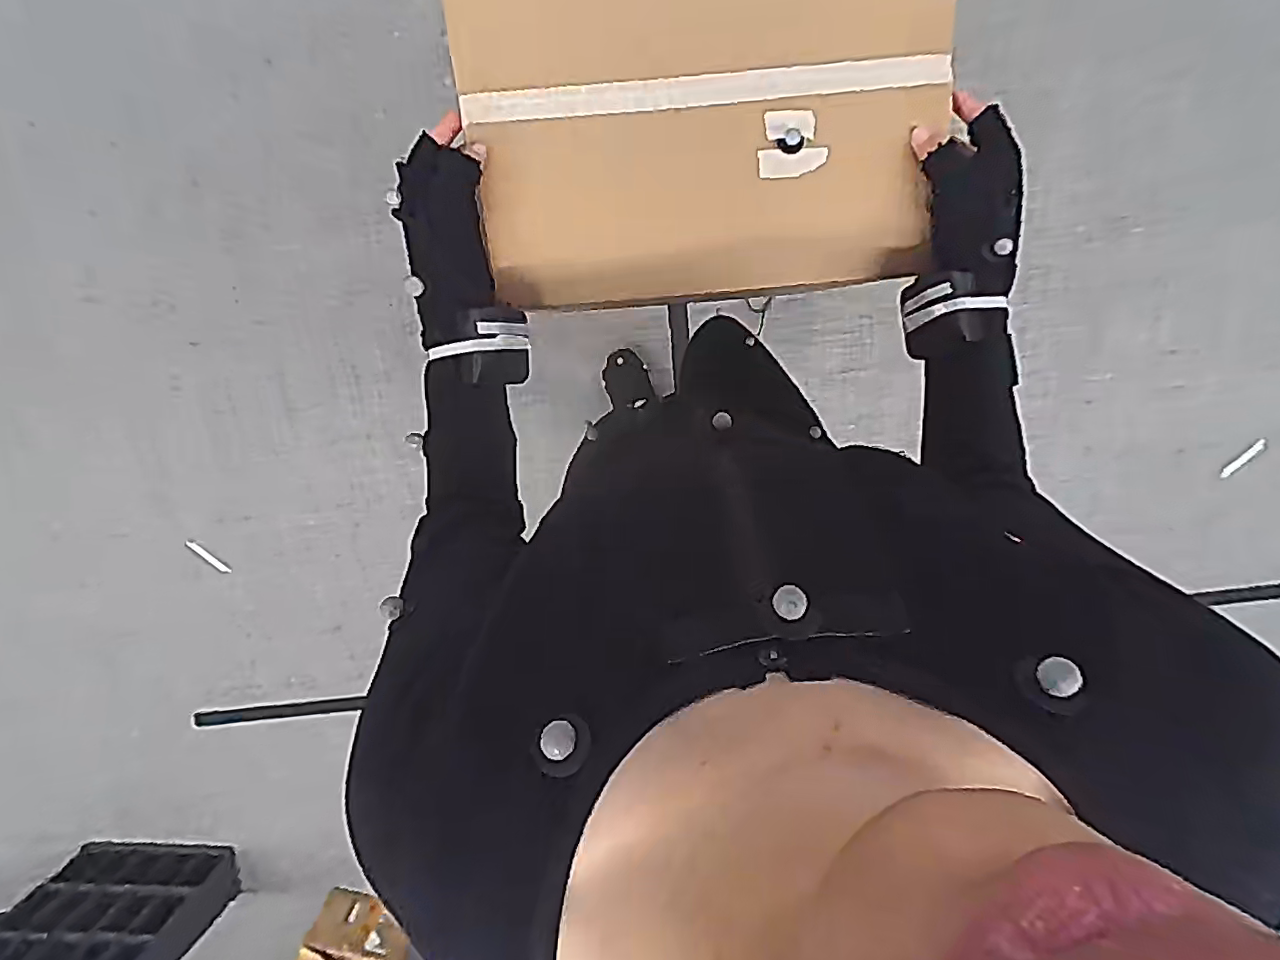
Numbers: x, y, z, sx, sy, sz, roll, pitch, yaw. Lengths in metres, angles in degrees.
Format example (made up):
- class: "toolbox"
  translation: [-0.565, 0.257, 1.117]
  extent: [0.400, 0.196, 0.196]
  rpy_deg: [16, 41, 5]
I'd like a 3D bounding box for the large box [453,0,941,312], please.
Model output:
- class: "large box"
  translation: [0.046, -0.370, 0.599]
  extent: [0.408, 0.320, 0.320]
  rpy_deg: [-5, 106, -1]
